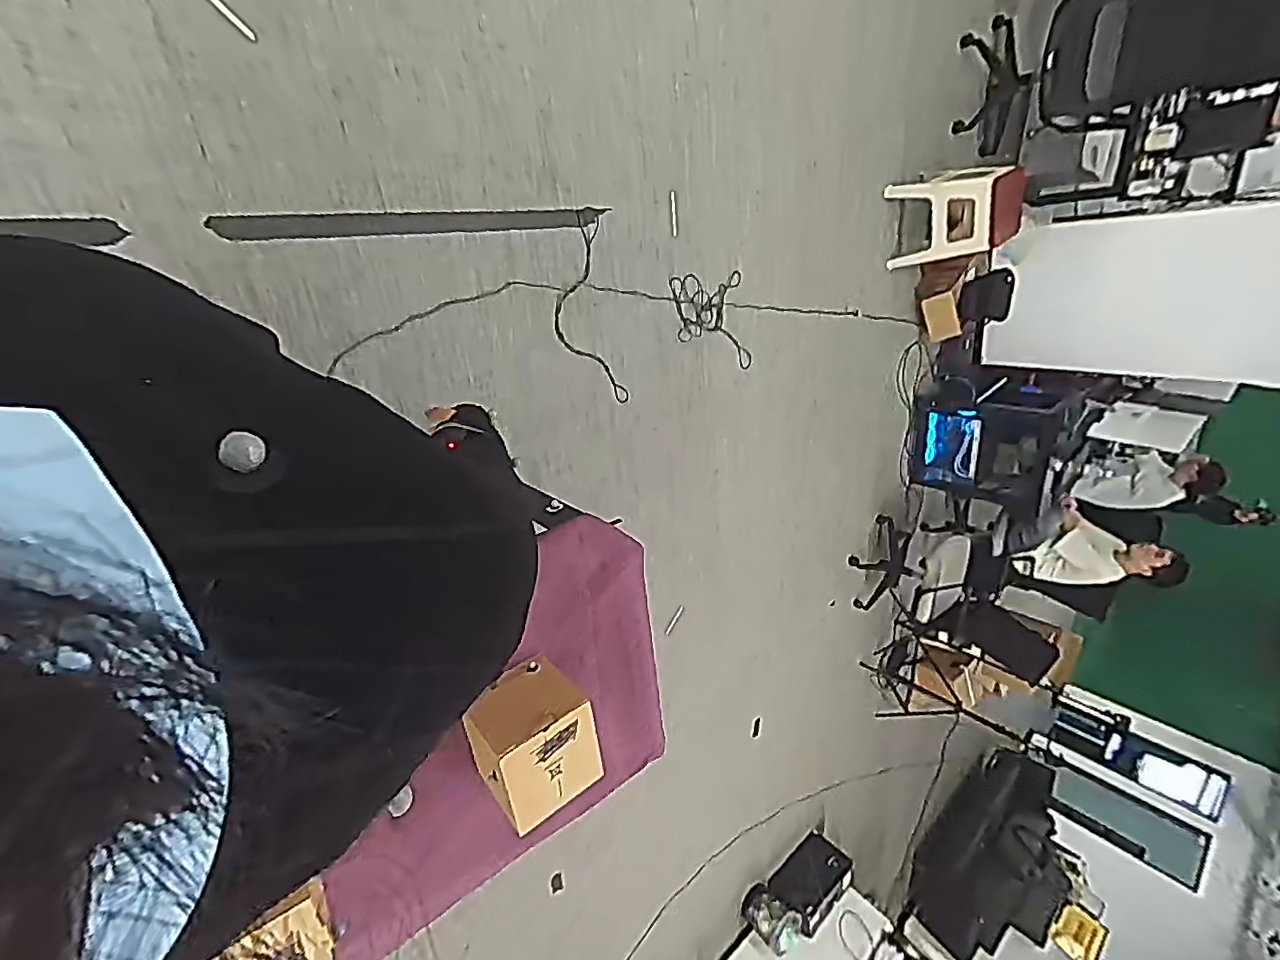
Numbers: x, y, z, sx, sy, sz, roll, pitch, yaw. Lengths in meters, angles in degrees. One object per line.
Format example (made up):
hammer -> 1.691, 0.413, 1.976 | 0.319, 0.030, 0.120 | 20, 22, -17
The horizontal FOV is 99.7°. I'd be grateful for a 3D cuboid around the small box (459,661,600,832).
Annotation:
small box -> -0.192, 0.439, 0.929 | 0.168, 0.176, 0.179 | -22, 117, -33
